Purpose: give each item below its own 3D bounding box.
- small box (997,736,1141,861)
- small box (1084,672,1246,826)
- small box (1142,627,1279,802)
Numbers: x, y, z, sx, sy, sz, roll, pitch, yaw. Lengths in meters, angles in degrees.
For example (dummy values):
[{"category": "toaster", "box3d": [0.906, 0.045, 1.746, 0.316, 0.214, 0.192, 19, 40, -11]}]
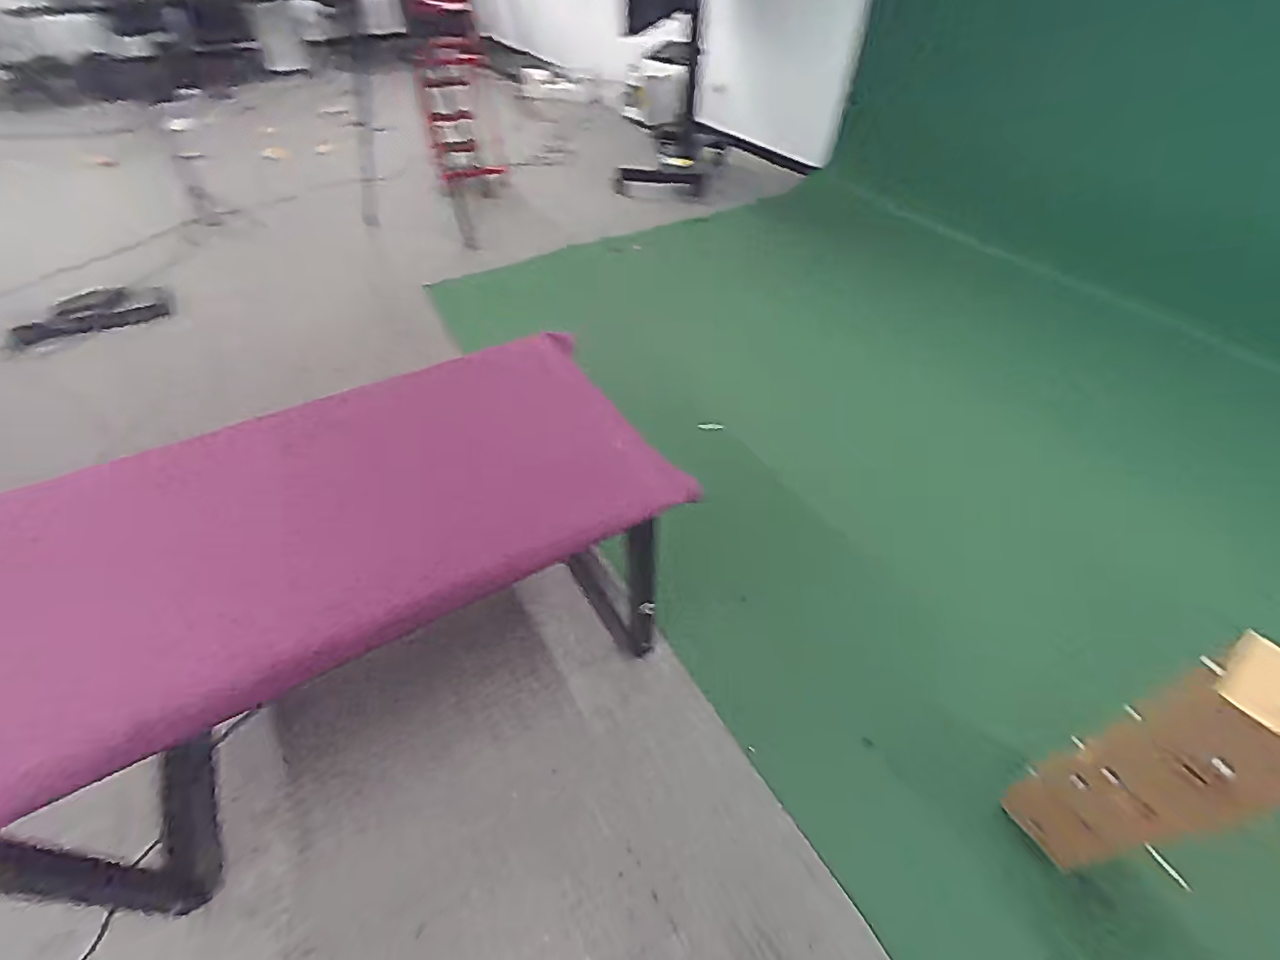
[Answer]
[{"category": "small box", "box3d": [0.970, 0.730, 1.238, 0.179, 0.176, 0.168, -25, 52, -21]}, {"category": "small box", "box3d": [0.982, 0.501, 1.002, 0.179, 0.176, 0.168, -28, 54, -25]}, {"category": "small box", "box3d": [0.990, 0.383, 0.886, 0.179, 0.176, 0.168, -30, 54, -25]}]
